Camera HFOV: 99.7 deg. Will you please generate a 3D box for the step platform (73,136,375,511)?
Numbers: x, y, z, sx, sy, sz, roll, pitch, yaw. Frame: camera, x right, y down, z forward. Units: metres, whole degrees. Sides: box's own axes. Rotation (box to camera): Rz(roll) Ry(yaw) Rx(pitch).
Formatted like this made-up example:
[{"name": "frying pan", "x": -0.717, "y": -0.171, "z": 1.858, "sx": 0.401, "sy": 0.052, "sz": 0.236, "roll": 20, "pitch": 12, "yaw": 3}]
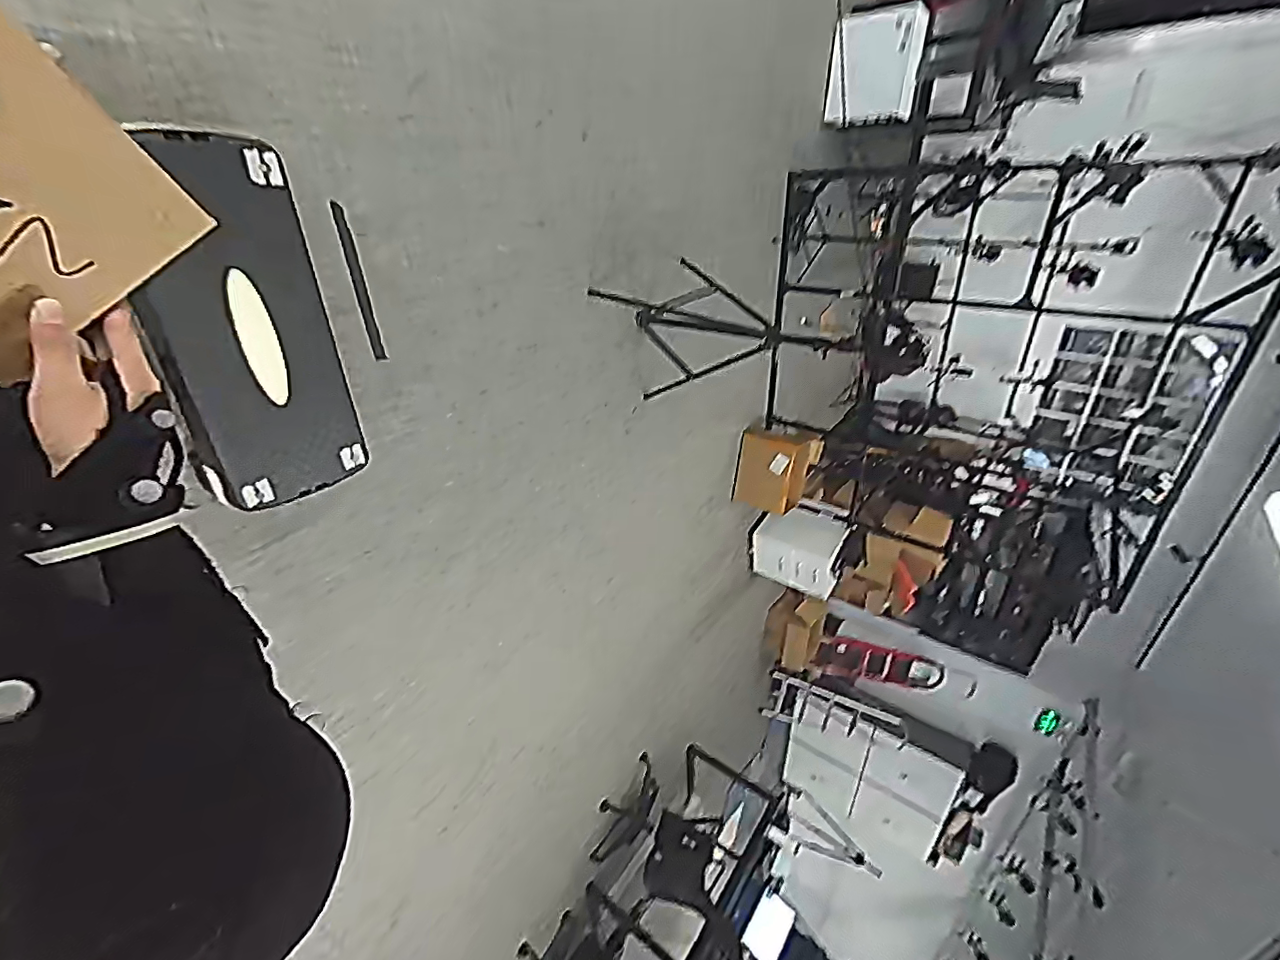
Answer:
[{"name": "step platform", "x": -0.771, "y": -0.280, "z": 1.075, "sx": 0.286, "sy": 0.204, "sz": 0.684, "roll": -34, "pitch": 132, "yaw": -45}]
